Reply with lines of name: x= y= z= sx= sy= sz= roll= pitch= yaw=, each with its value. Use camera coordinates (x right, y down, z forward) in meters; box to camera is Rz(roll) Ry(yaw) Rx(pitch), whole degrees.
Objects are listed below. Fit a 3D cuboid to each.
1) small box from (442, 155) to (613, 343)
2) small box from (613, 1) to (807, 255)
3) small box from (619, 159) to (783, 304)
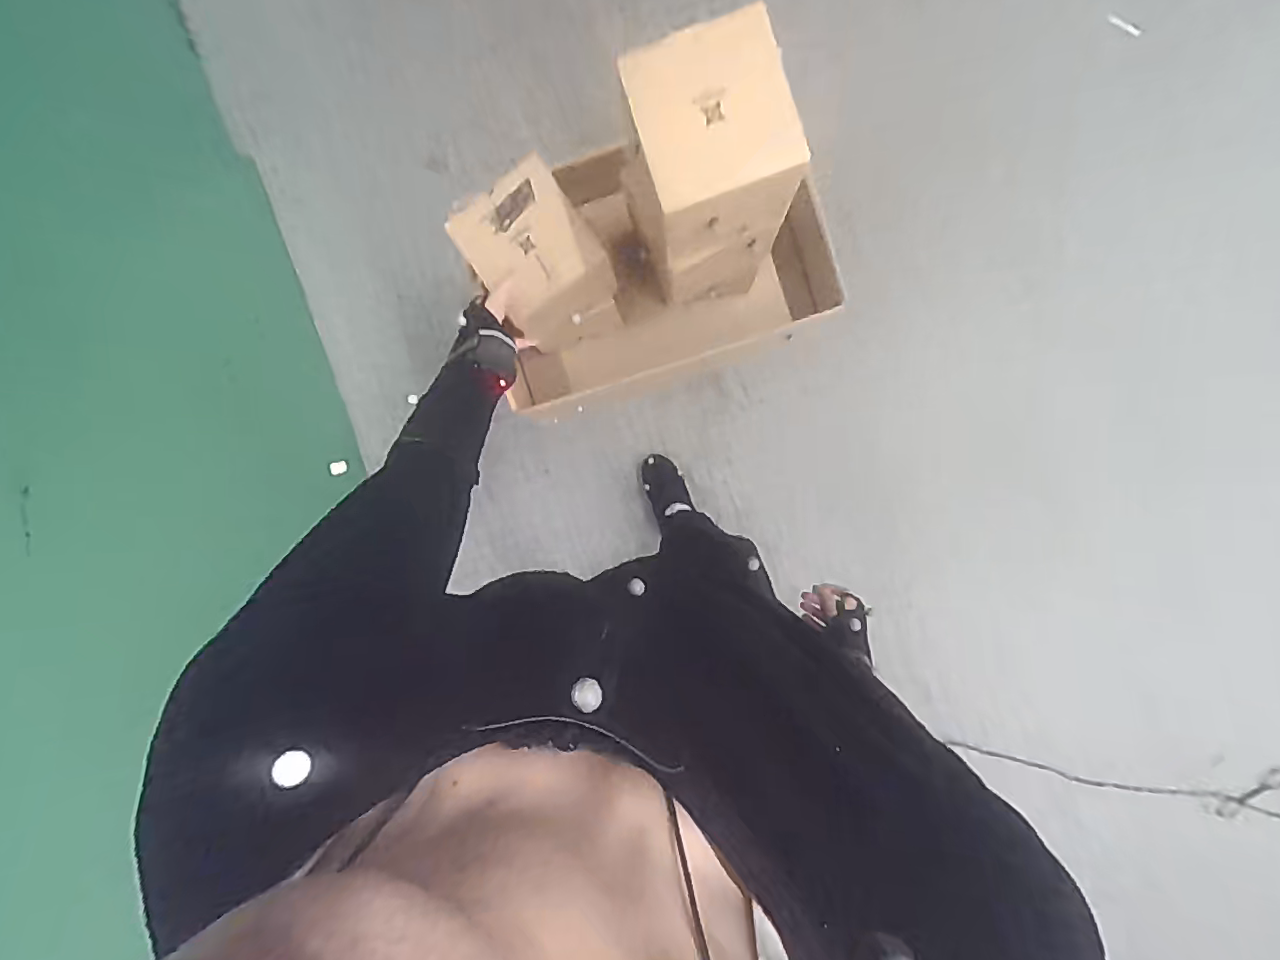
small box: x=-0.158 y=-0.335 z=0.823 sx=0.168 sy=0.176 sz=0.179 roll=-35 pitch=91 yaw=5
small box: x=0.081 y=-0.392 z=0.646 sx=0.168 sy=0.176 sz=0.179 roll=-18 pitch=91 yaw=5
small box: x=0.086 y=-0.392 z=0.808 sx=0.179 sy=0.176 sz=0.168 roll=-26 pitch=90 yaw=5
